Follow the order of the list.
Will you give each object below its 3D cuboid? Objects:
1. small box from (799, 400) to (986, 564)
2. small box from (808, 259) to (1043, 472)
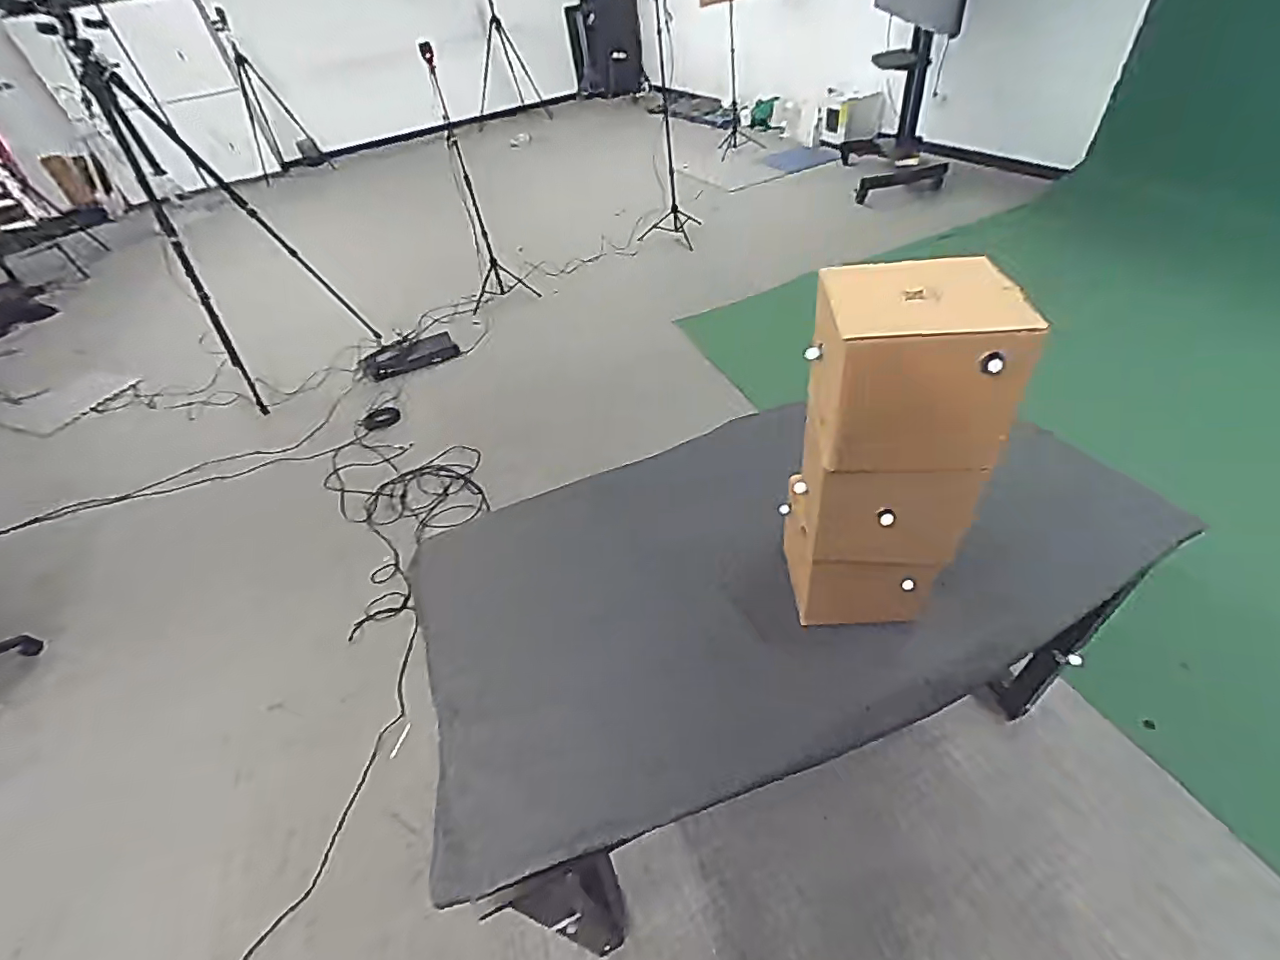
[{"bbox_3d":[0.307,-0.005,0.701,0.179,0.176,0.168,0,44,11],"label":"small box"},{"bbox_3d":[0.283,-0.121,0.589,0.179,0.176,0.168,-1,43,9],"label":"small box"}]
